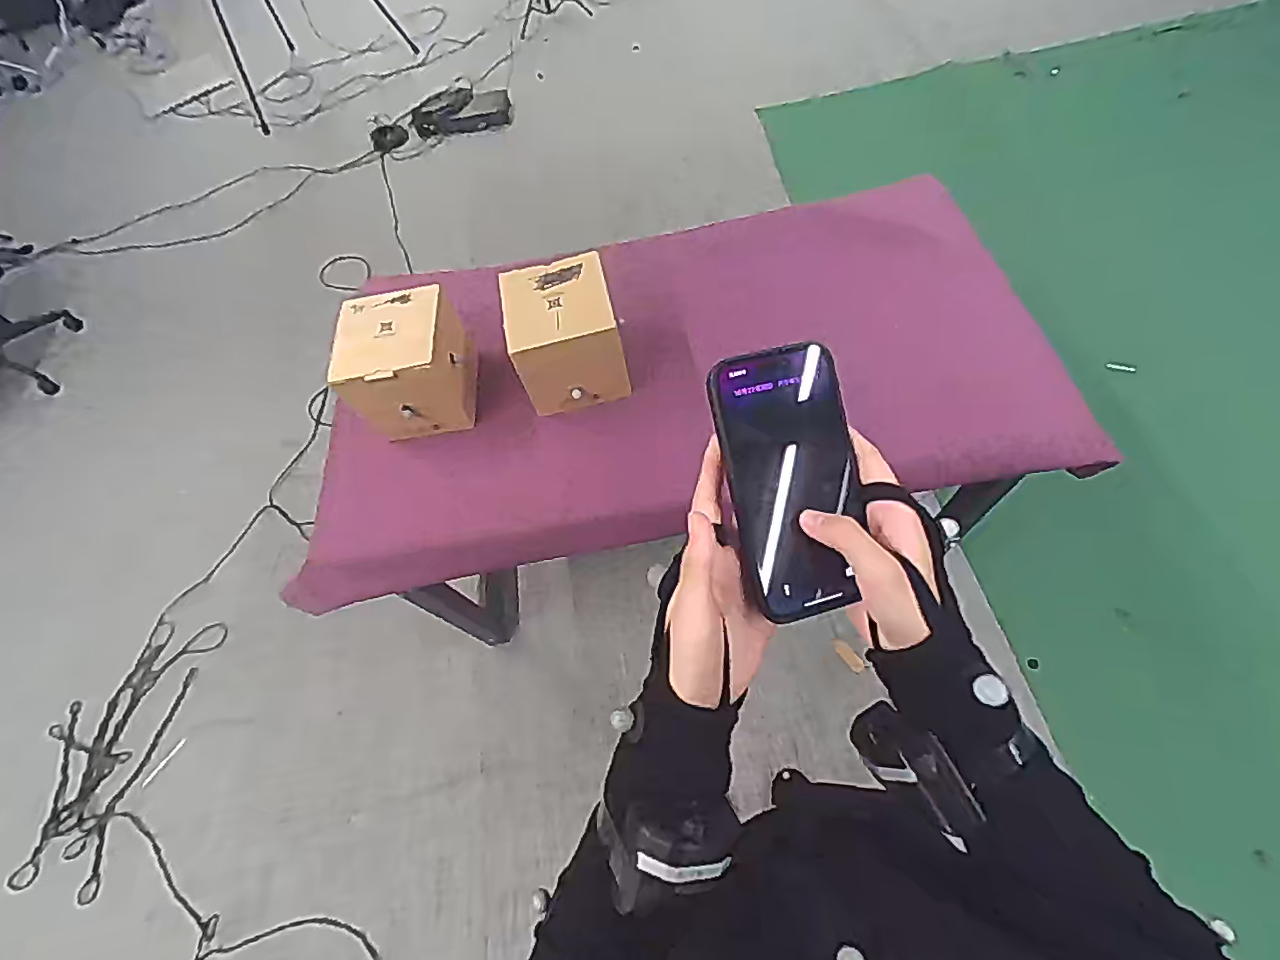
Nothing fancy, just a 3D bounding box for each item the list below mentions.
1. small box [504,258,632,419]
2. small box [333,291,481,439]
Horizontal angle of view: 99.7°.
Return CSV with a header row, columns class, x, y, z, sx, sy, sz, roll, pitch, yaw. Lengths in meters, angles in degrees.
class,x,y,z,sx,sy,sz,roll,pitch,yaw
small box,-0.116,-0.230,0.902,0.168,0.176,0.179,-14,61,1
small box,-0.380,-0.183,0.916,0.168,0.176,0.179,-9,61,4
